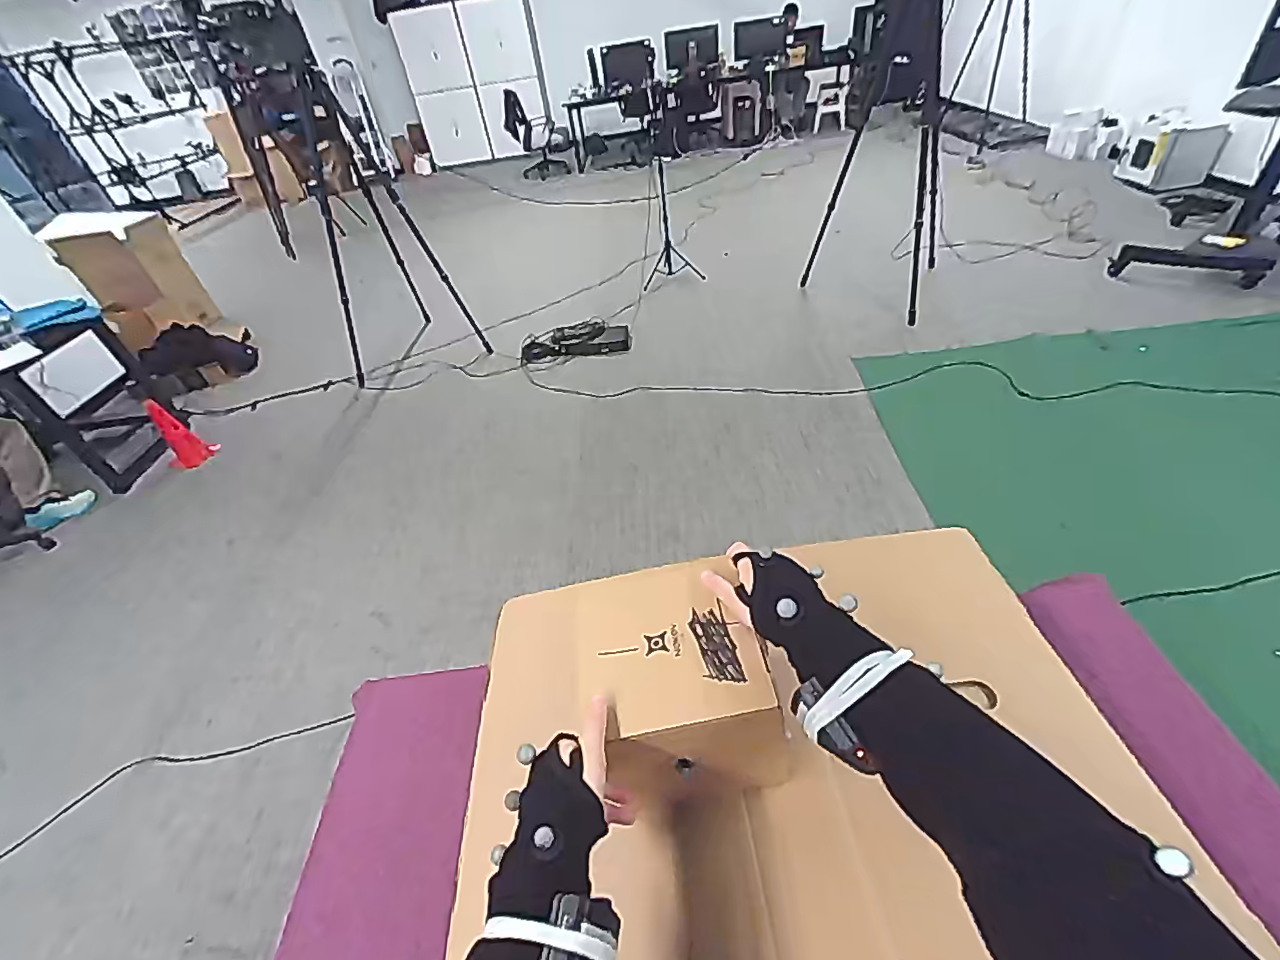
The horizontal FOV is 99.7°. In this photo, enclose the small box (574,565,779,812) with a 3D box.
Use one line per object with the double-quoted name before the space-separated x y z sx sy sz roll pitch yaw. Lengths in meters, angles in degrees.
"small box" 0.040 0.220 0.566 0.179 0.176 0.168 -15 40 5
